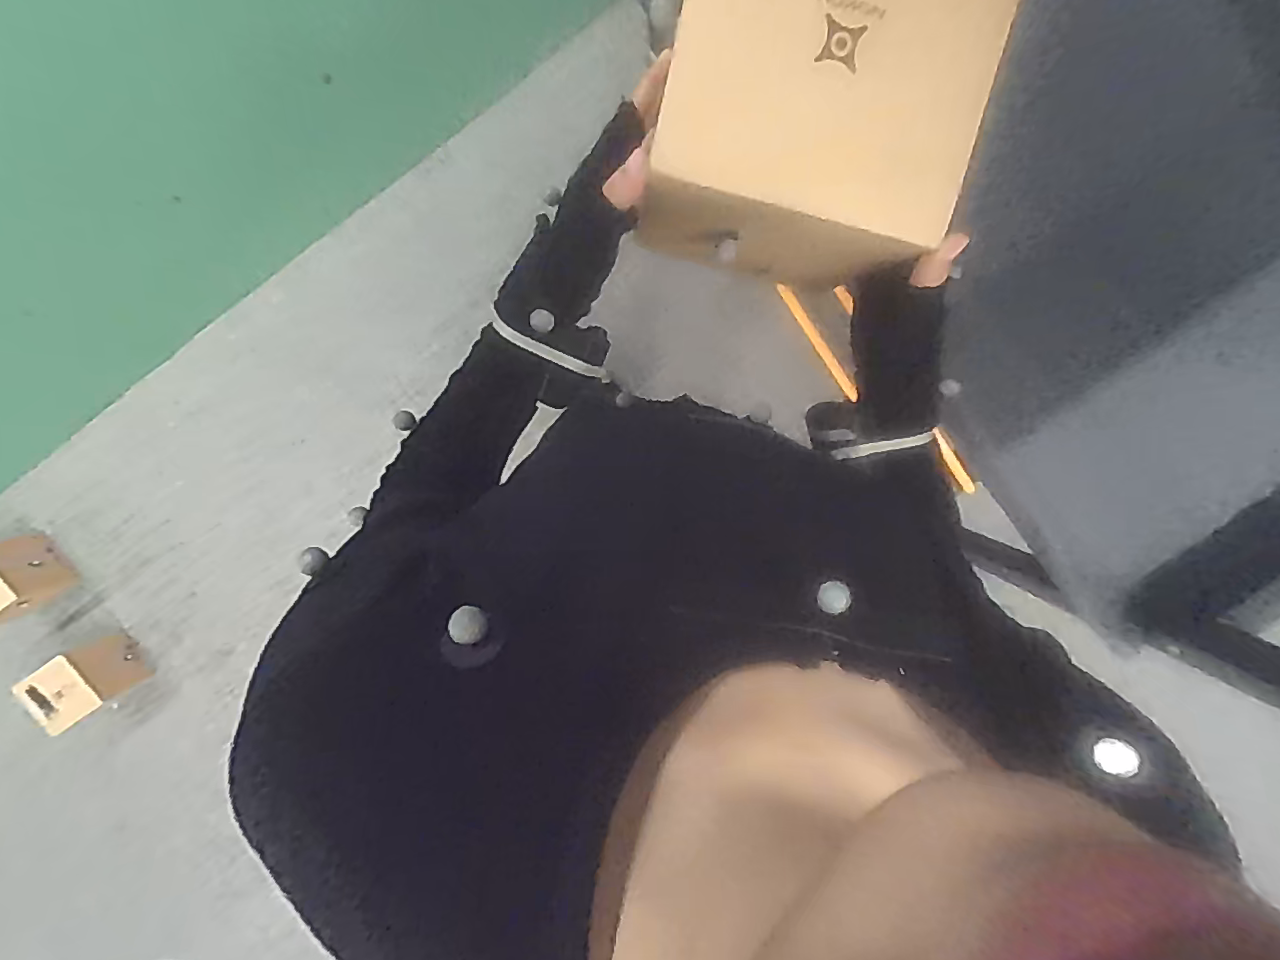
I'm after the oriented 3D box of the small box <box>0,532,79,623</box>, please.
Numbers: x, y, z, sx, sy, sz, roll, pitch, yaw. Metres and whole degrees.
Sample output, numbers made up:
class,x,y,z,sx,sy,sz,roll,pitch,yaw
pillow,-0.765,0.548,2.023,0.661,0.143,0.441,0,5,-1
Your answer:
class,x,y,z,sx,sy,sz,roll,pitch,yaw
small box,-1.660,0.259,1.427,0.179,0.176,0.168,-35,96,4
